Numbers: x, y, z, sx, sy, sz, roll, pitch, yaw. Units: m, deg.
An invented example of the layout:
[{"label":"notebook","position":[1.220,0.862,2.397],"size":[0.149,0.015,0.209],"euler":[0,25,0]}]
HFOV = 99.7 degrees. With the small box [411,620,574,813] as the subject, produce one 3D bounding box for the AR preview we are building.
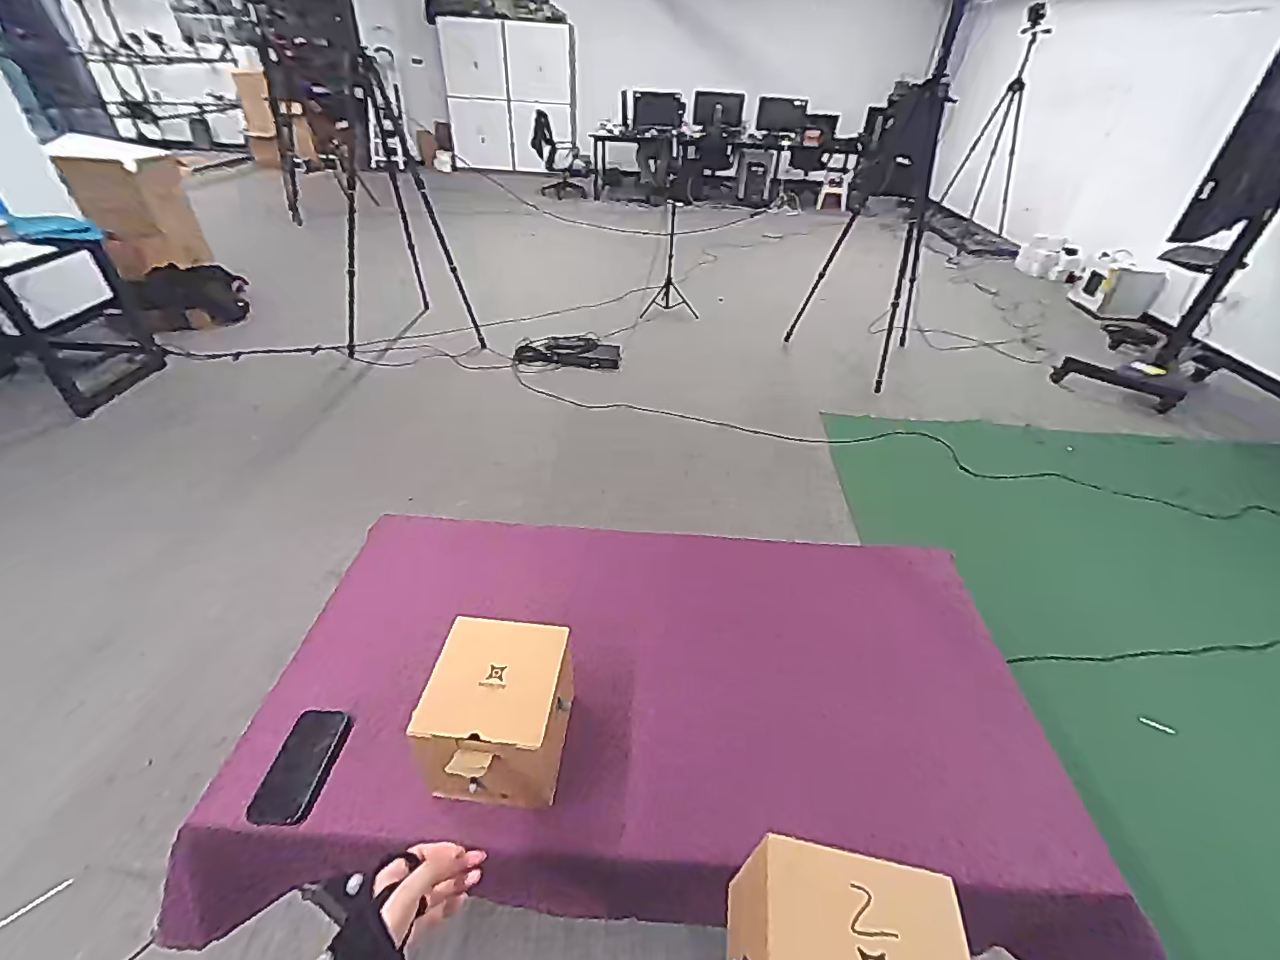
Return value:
[{"label":"small box","position":[-0.189,0.324,0.750],"size":[0.168,0.176,0.179],"euler":[6,38,3]}]
